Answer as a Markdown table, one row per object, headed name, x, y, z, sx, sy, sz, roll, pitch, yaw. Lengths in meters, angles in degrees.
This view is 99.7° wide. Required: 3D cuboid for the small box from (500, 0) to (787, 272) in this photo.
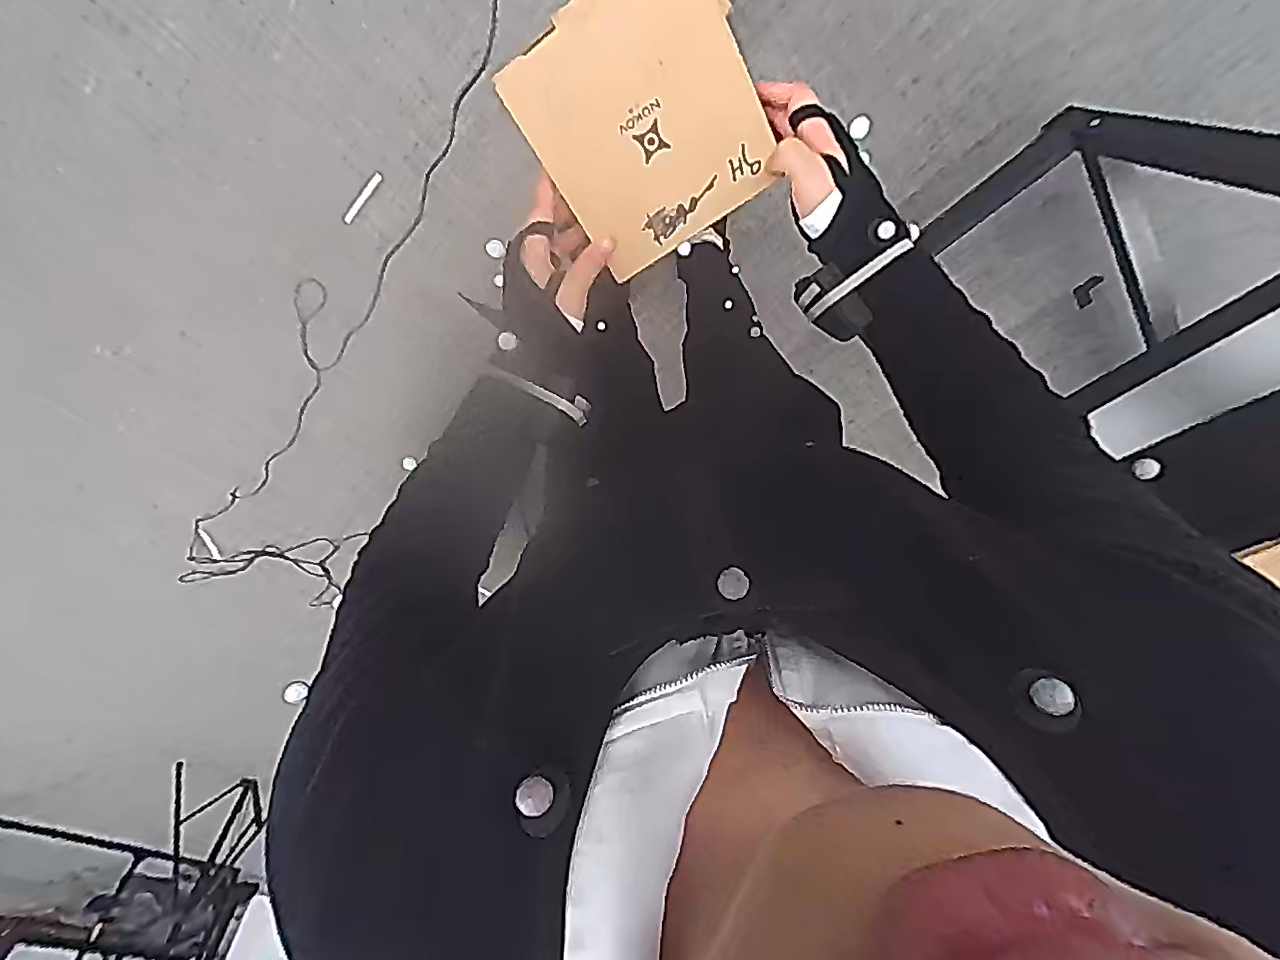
| name | x | y | z | sx | sy | sz | roll | pitch | yaw |
| --- | --- | --- | --- | --- | --- | --- | --- | --- | --- |
| small box | 0.005 | -0.323 | 0.487 | 0.168 | 0.176 | 0.179 | -28 | 120 | 17 |
